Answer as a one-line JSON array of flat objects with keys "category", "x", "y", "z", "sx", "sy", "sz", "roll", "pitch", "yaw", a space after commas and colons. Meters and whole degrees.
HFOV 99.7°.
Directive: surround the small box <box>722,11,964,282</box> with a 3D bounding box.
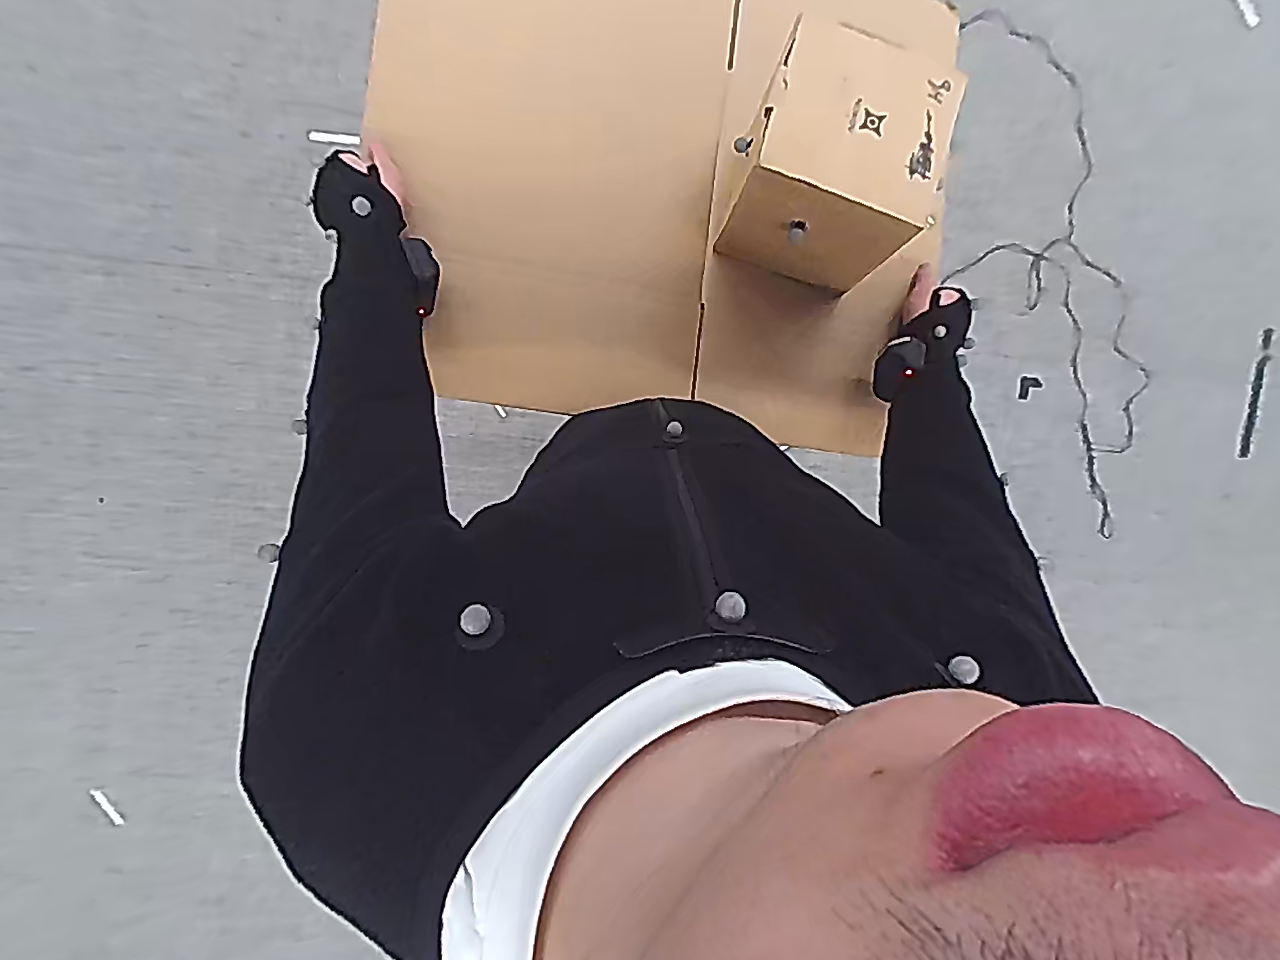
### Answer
[{"category": "small box", "x": 0.205, "y": -0.344, "z": 0.596, "sx": 0.179, "sy": 0.176, "sz": 0.168, "roll": 17, "pitch": 86, "yaw": -4}]
